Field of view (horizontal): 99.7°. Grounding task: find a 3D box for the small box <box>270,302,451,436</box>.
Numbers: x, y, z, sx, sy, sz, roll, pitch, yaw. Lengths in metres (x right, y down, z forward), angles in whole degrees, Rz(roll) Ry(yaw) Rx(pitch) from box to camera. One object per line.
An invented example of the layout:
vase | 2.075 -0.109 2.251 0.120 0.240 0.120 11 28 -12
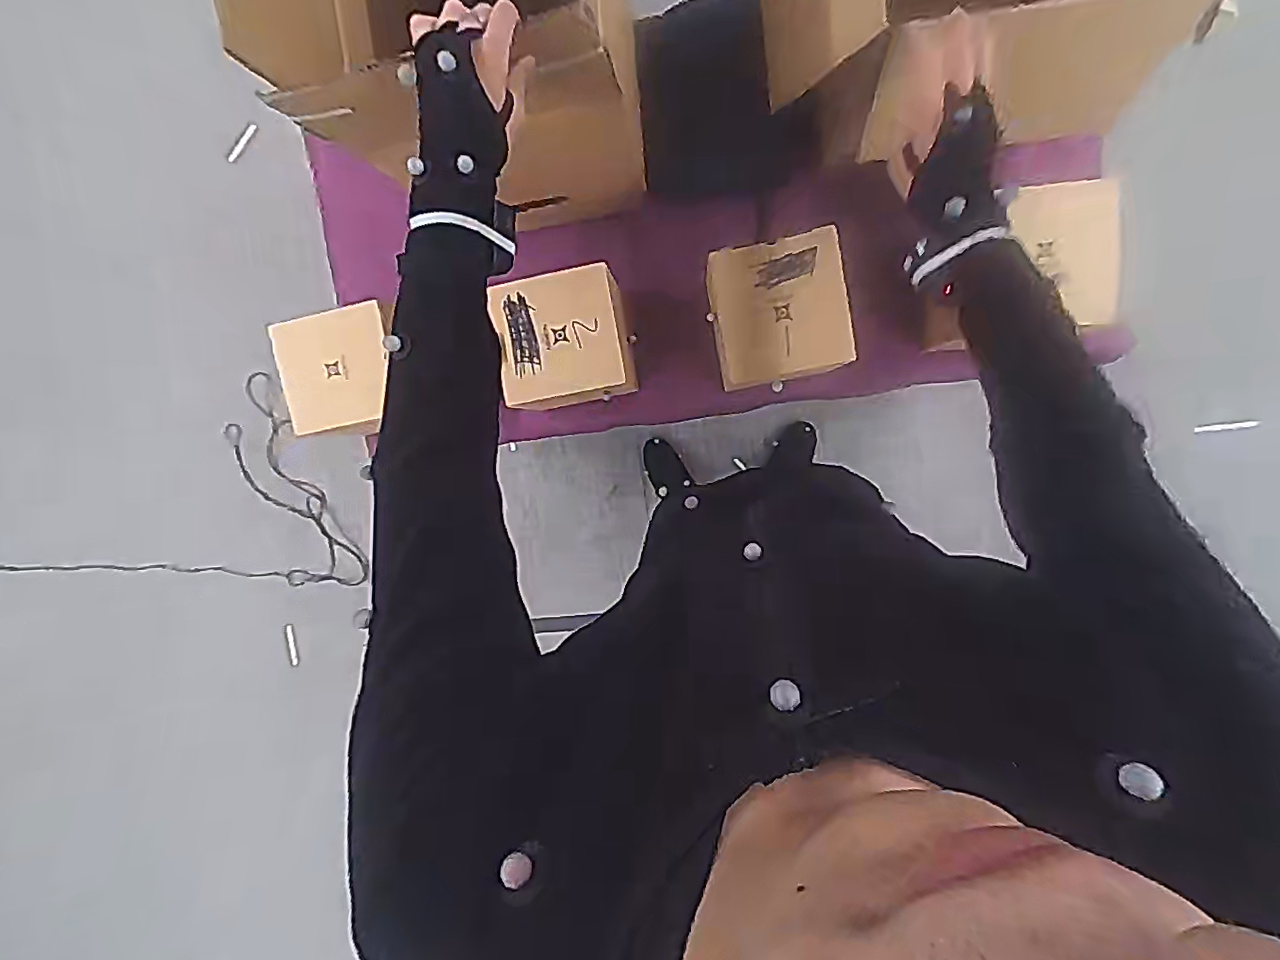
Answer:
small box | -0.429 -0.163 0.856 0.179 0.176 0.168 -11 94 6

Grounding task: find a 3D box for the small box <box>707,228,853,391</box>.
small box | 0.191 -0.233 0.782 0.168 0.176 0.179 -10 96 8

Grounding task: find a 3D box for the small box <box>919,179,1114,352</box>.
small box | 0.499 -0.280 0.743 0.168 0.176 0.179 -2 95 8
